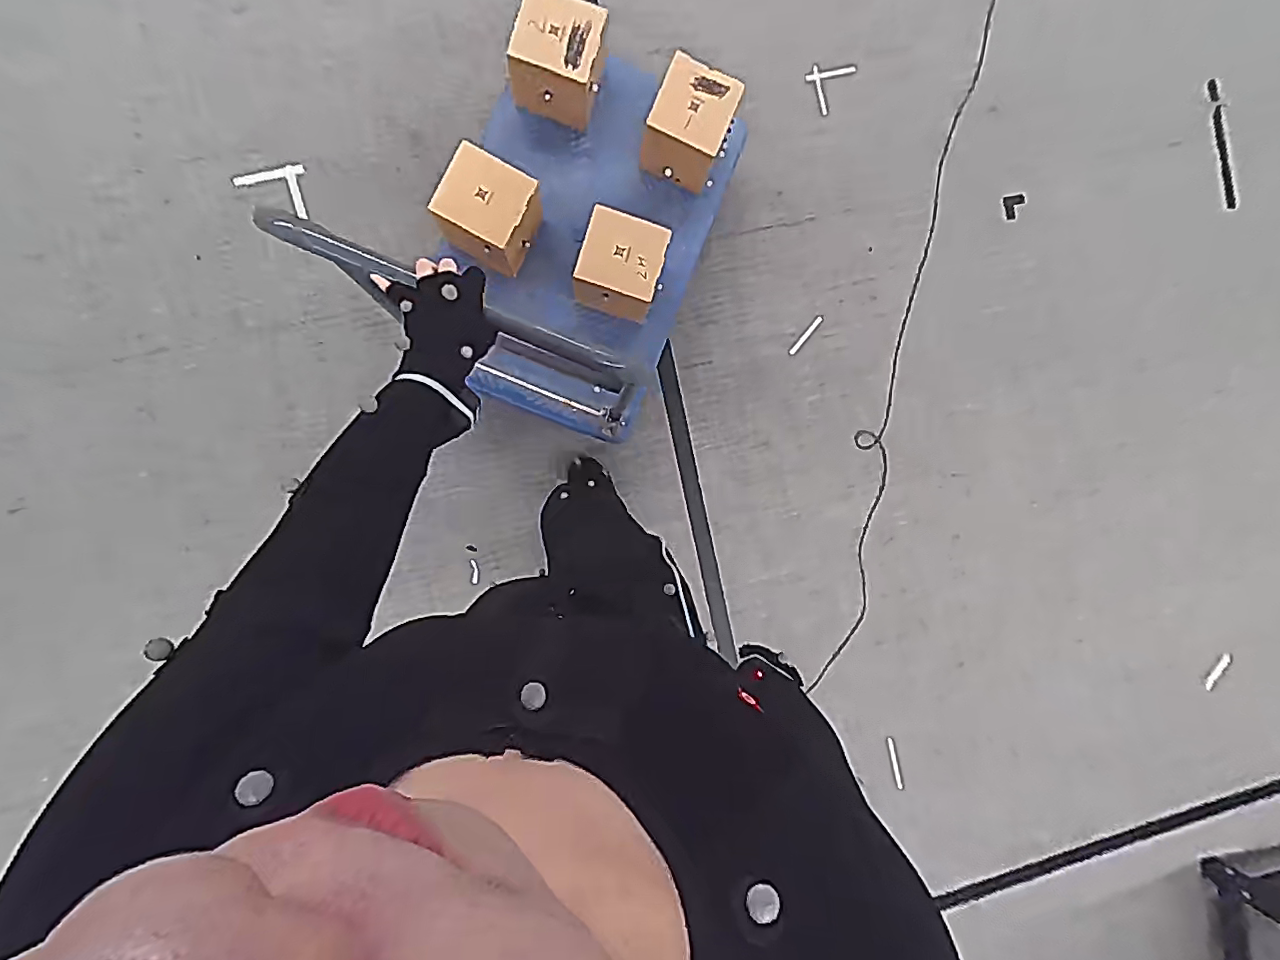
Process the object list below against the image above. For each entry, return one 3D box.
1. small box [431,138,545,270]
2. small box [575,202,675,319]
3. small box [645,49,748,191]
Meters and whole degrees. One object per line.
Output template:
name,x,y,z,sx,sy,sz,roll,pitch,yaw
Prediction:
small box,-0.325,-0.595,1.193,0.179,0.176,0.168,27,88,-7
small box,-0.039,-0.484,1.222,0.179,0.176,0.168,18,89,-5
small box,0.119,-0.809,1.233,0.168,0.176,0.179,23,90,-5
